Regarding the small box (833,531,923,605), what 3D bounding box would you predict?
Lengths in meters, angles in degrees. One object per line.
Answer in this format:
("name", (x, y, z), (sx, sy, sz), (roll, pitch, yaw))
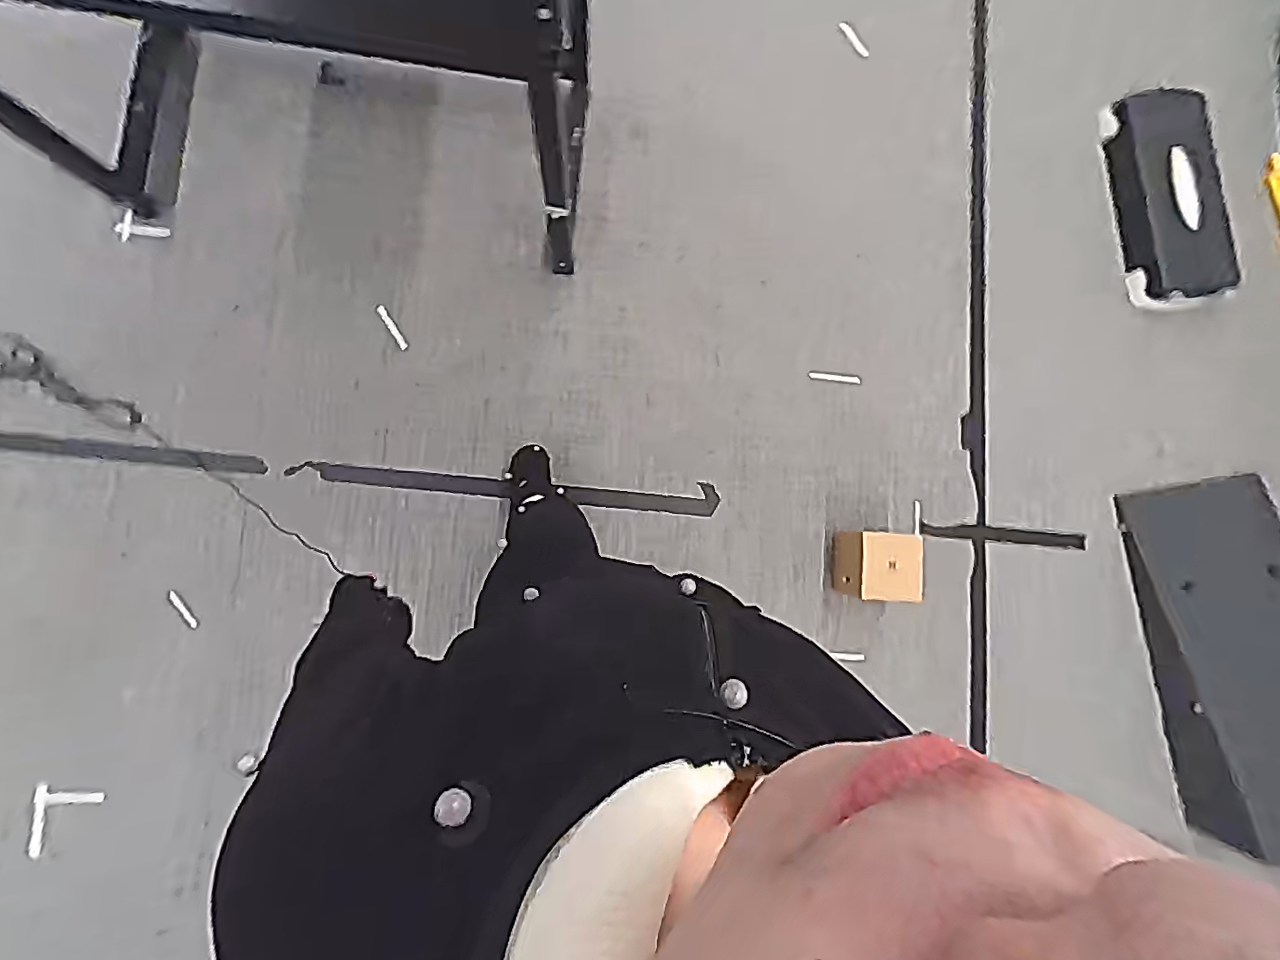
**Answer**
("small box", (0.640, 0.233, 1.468), (0.168, 0.176, 0.179), (4, 85, -5))
